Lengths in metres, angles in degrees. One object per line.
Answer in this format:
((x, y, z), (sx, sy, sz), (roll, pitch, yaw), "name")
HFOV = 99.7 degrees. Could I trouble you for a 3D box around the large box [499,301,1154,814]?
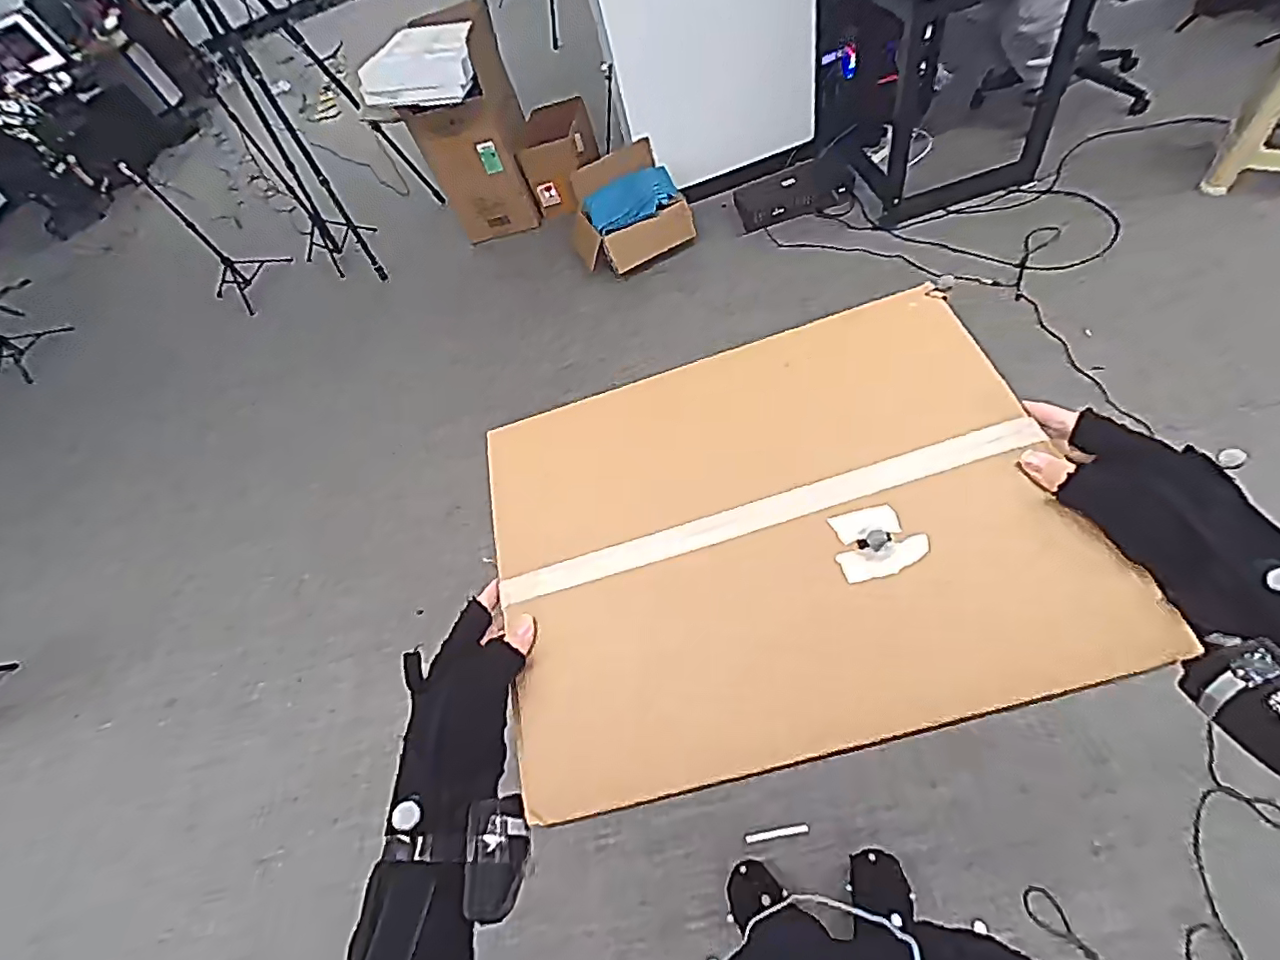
((0.121, 0.099, 0.541), (0.408, 0.320, 0.320), (-18, 61, 4), "large box")
